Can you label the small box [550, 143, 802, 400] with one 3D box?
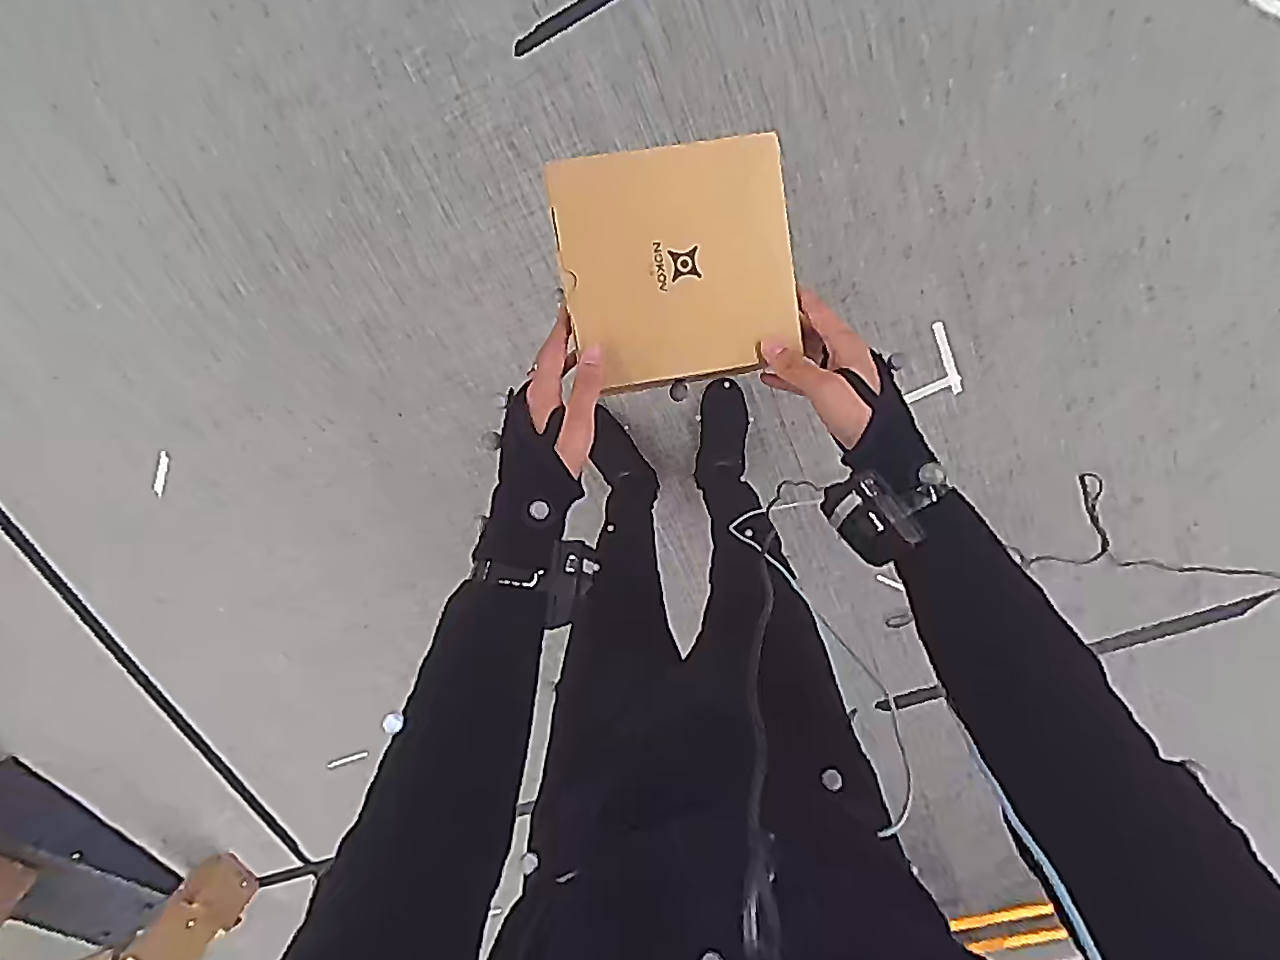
[{"bbox_3d":[0.024,-0.168,0.484,0.179,0.176,0.168,-10,99,-3],"label":"small box"}]
